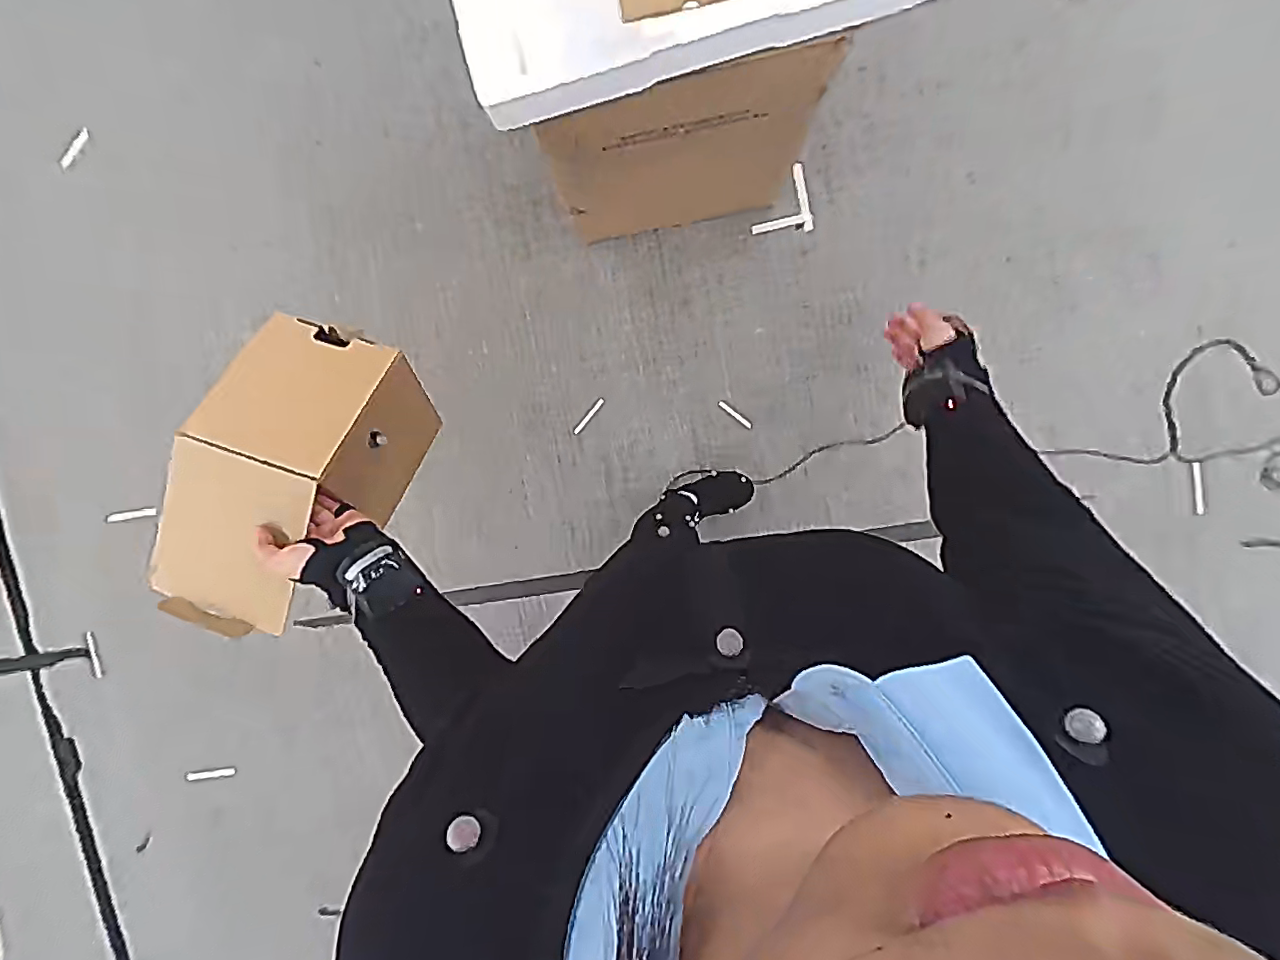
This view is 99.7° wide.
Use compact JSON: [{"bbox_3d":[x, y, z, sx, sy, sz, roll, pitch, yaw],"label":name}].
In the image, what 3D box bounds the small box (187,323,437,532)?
[{"bbox_3d":[-0.378,-0.055,0.667,0.168,0.176,0.179,17,66,6],"label":"small box"}]
